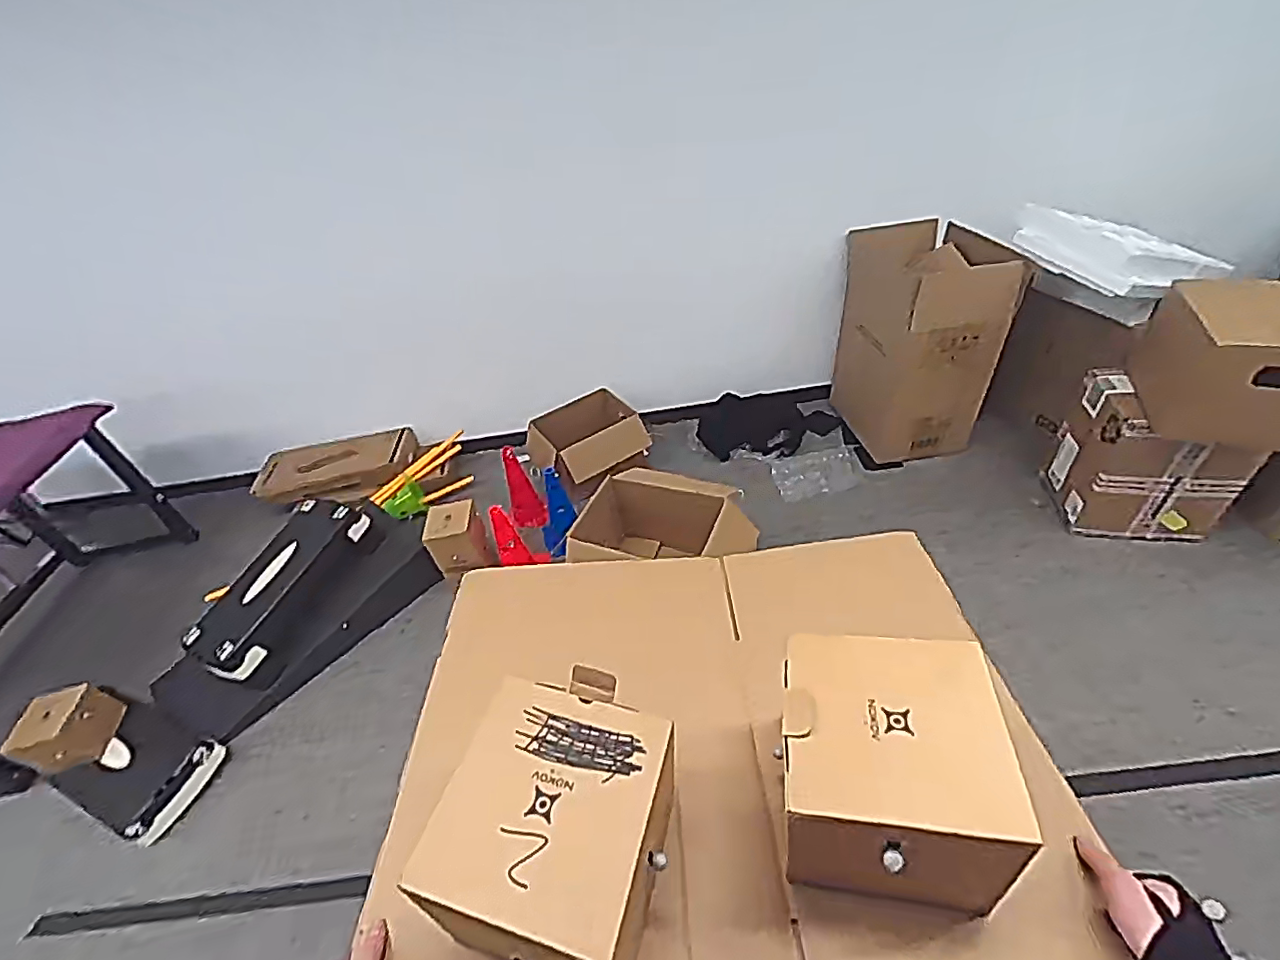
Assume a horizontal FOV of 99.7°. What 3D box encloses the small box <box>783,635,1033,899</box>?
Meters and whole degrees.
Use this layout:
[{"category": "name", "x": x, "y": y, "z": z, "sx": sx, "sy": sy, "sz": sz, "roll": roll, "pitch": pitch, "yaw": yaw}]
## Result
[{"category": "small box", "x": 0.229, "y": 0.270, "z": 0.516, "sx": 0.179, "sy": 0.176, "sz": 0.168, "roll": -2, "pitch": 40, "yaw": 16}]
